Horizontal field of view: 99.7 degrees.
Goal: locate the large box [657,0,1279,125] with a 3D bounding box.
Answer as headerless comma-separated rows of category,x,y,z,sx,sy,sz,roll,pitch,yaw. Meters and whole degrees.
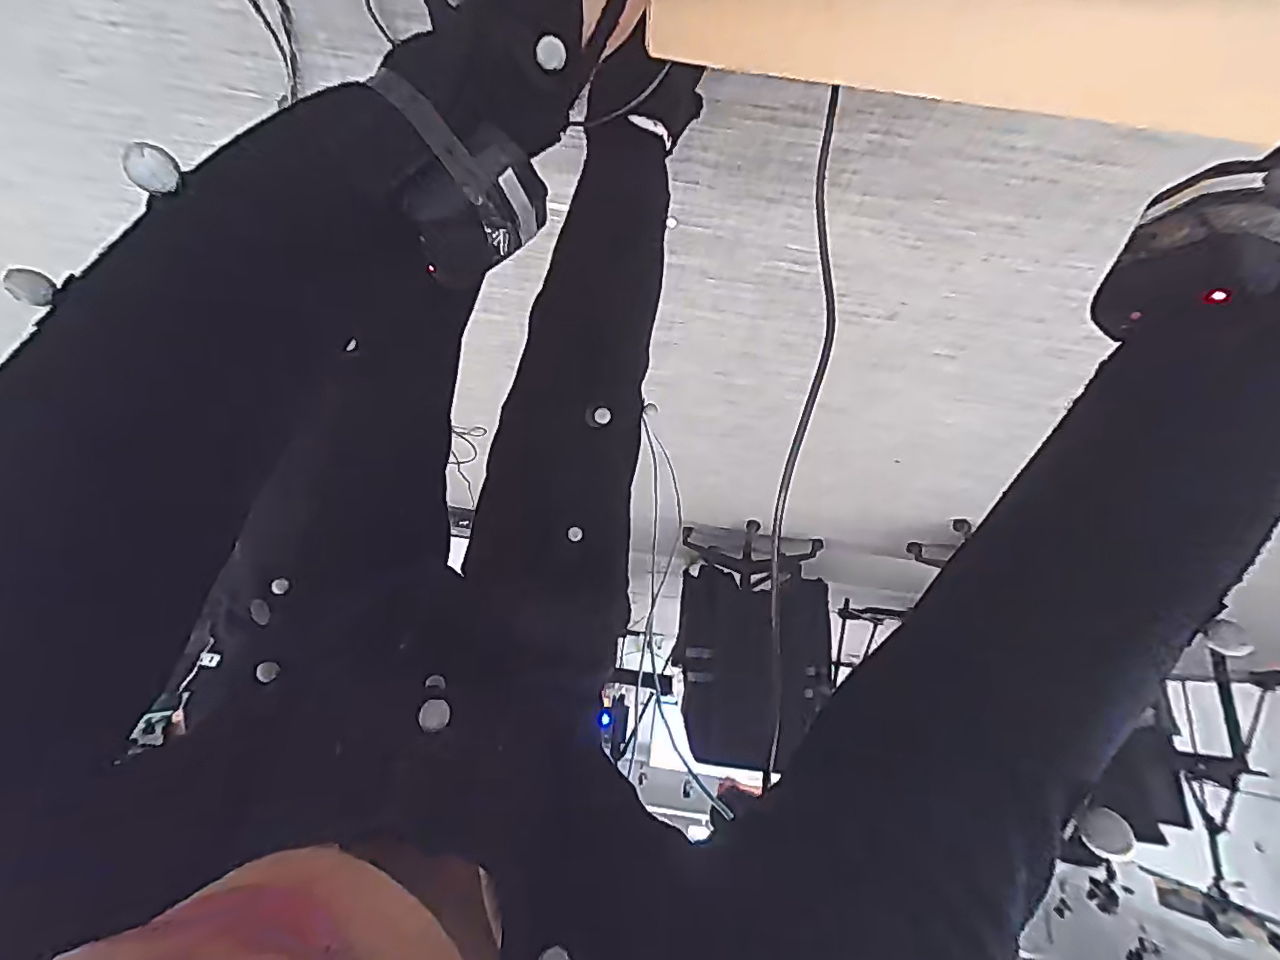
large box,0.225,-0.430,0.242,0.408,0.320,0.320,7,162,0
